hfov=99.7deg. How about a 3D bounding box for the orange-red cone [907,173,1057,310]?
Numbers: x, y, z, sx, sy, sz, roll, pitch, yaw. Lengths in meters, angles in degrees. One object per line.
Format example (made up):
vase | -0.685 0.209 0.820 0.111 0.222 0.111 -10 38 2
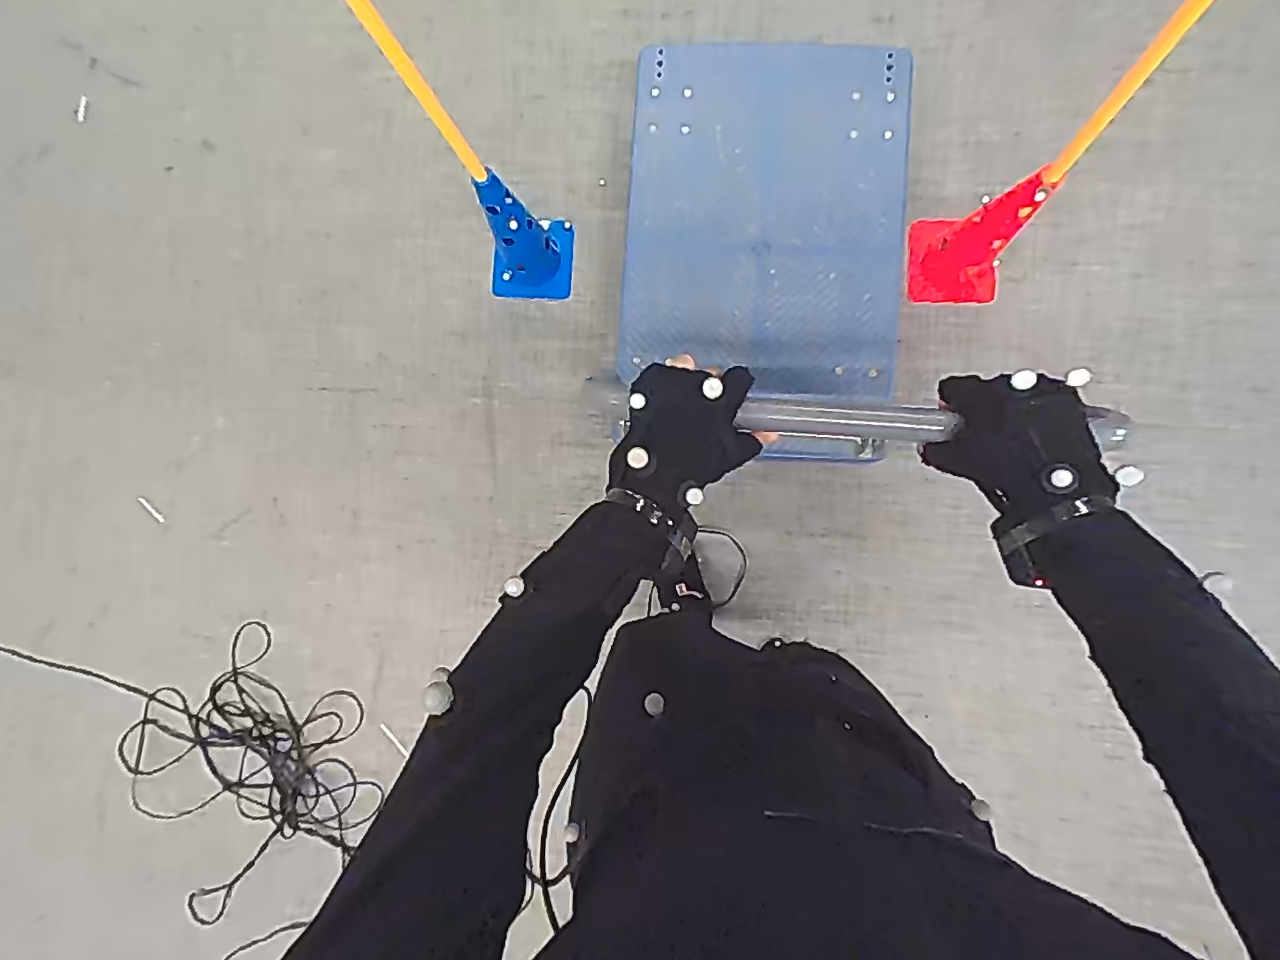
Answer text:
orange-red cone | 0.725 -0.511 1.120 0.199 0.360 0.198 3 88 6
